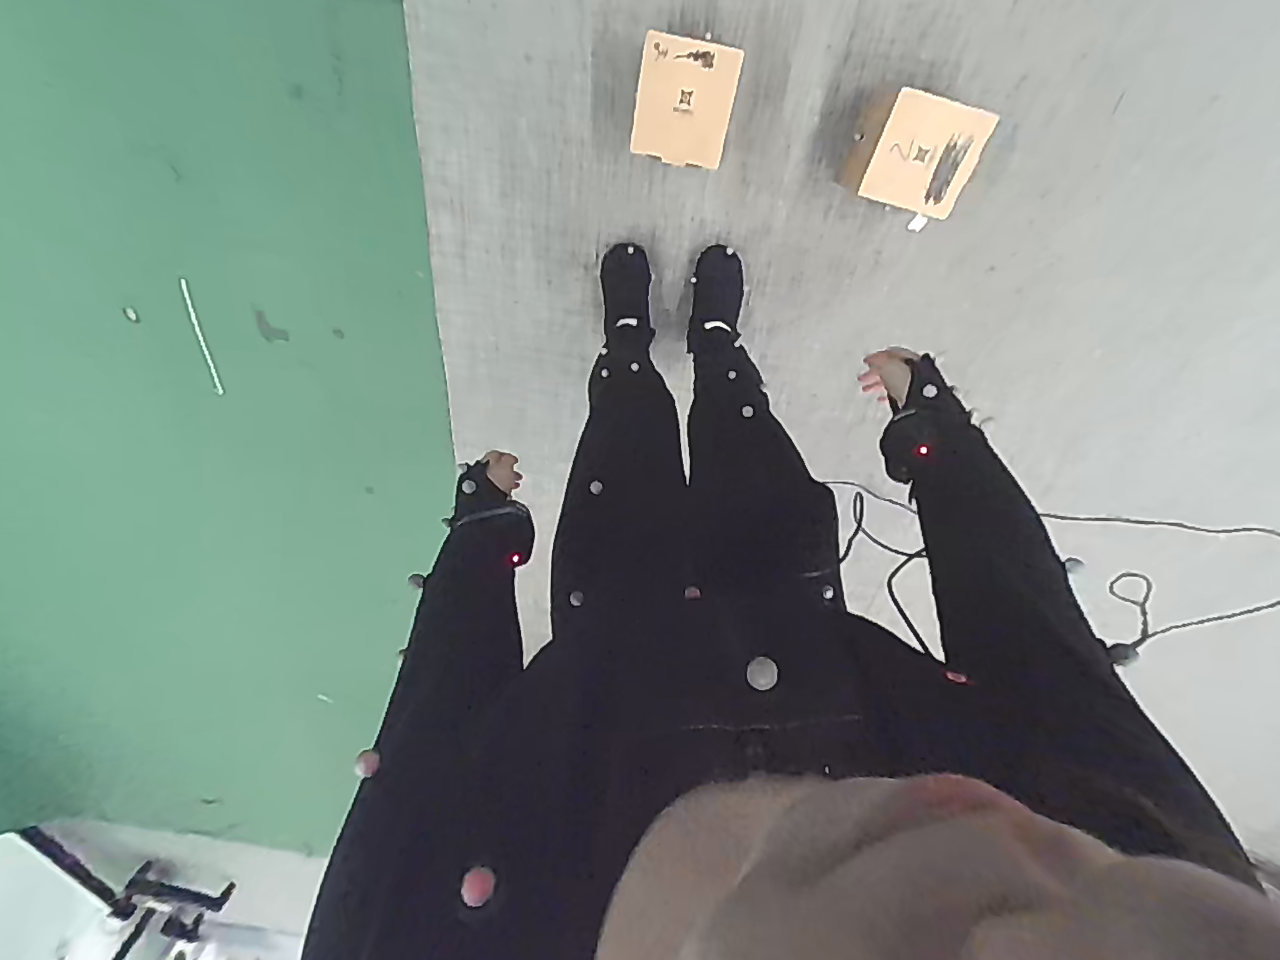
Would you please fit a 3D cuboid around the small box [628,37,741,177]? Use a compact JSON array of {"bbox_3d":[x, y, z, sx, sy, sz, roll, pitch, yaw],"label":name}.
[{"bbox_3d":[0.081,-0.681,0.994,0.168,0.176,0.179,12,125,-1],"label":"small box"}]
